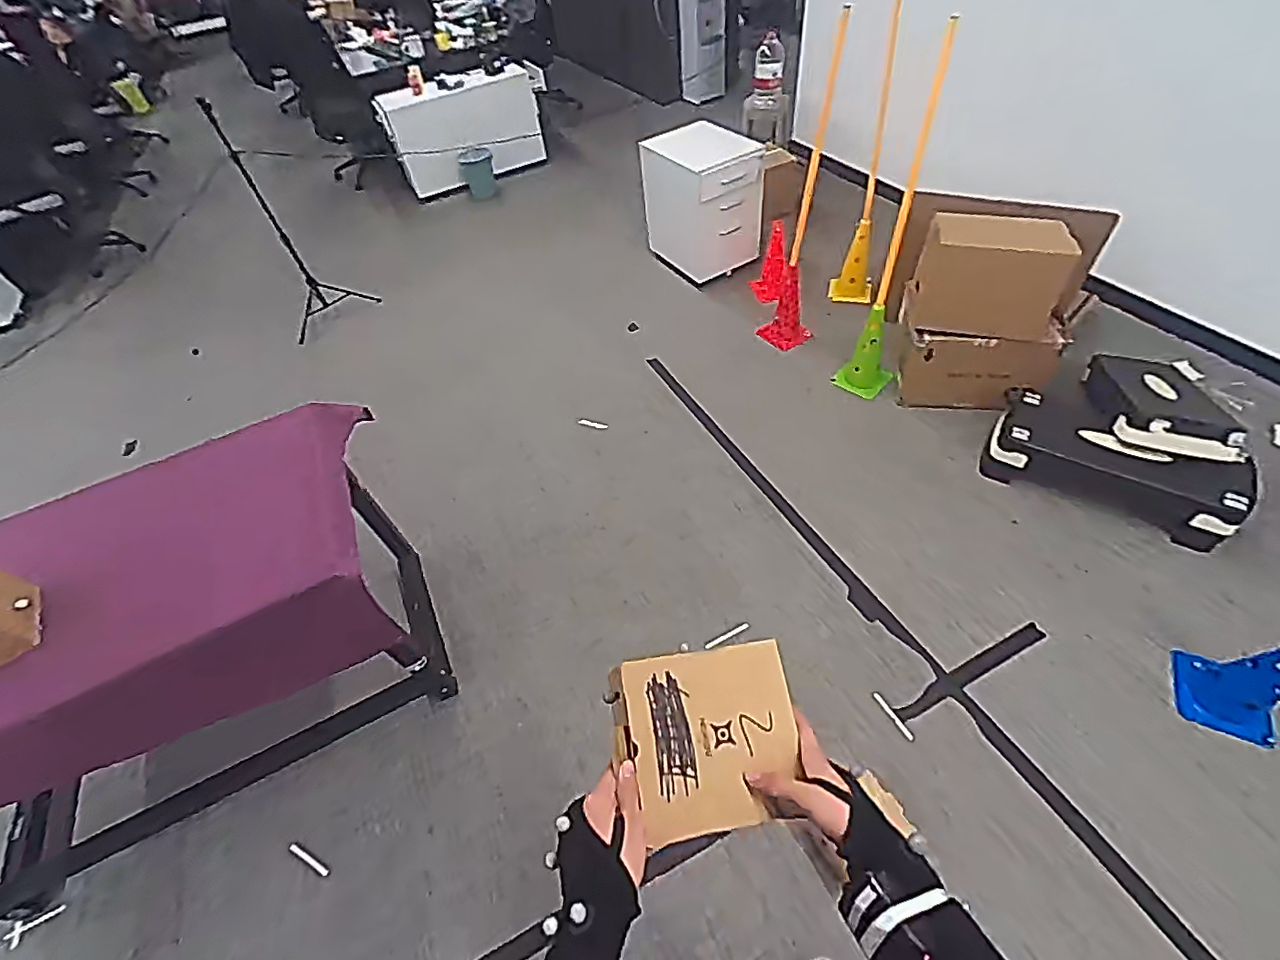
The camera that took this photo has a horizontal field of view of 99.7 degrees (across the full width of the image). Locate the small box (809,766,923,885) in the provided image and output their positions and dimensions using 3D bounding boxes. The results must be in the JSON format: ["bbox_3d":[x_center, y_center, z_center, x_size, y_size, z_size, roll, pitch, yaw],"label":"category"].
[{"bbox_3d":[0.511,0.807,1.257,0.179,0.176,0.168,-28,53,-14],"label":"small box"}]

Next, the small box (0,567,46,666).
[{"bbox_3d":[-1.280,0.267,1.001,0.179,0.176,0.168,-34,55,-19],"label":"small box"}]
